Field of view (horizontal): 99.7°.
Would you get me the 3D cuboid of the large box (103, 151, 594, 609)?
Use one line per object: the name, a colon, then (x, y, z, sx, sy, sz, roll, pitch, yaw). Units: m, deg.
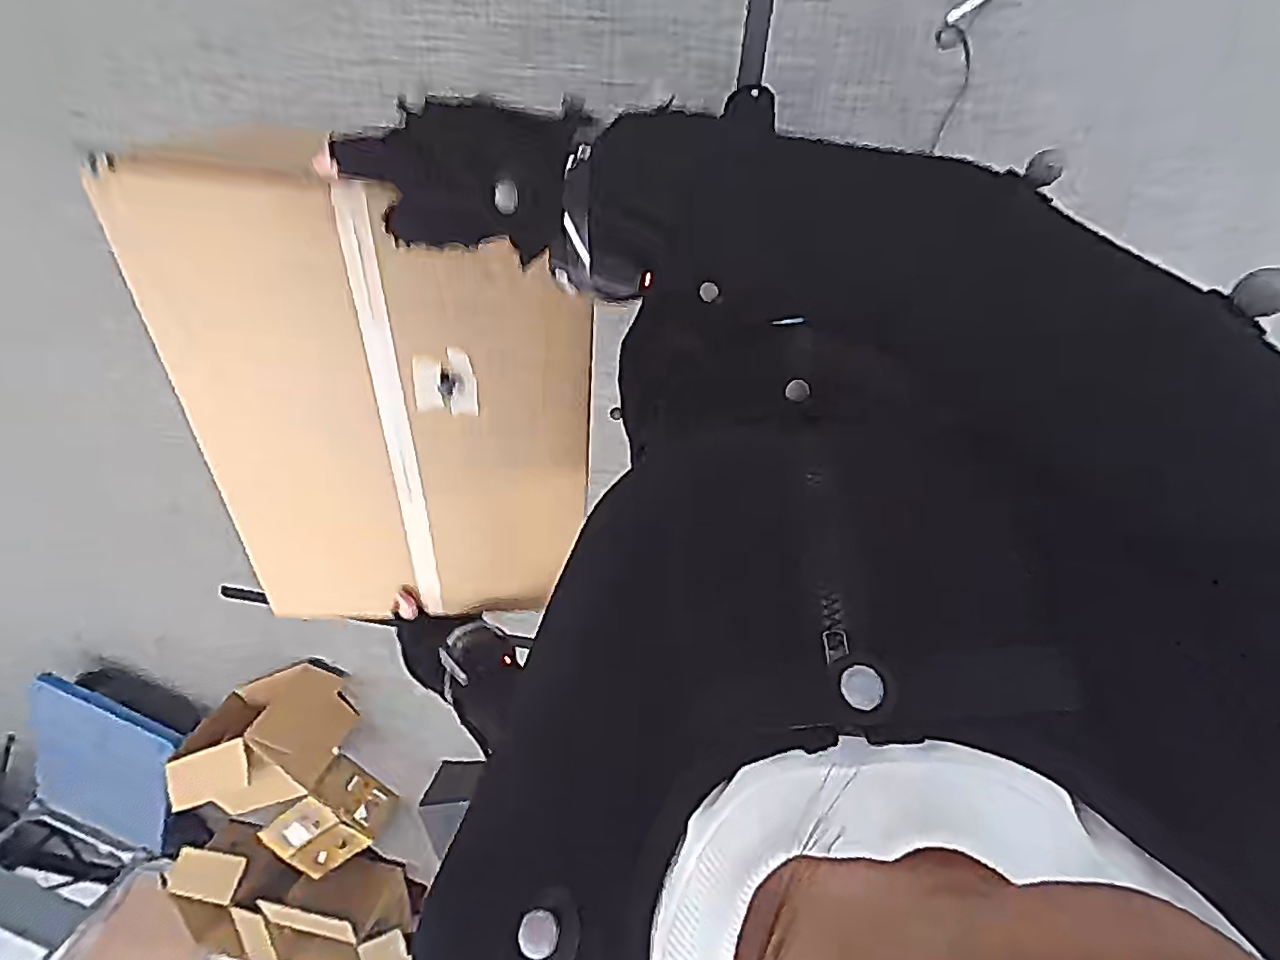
large box: (-0.216, -0.115, 0.593, 0.320, 0.320, 0.408, -2, 124, -8)
